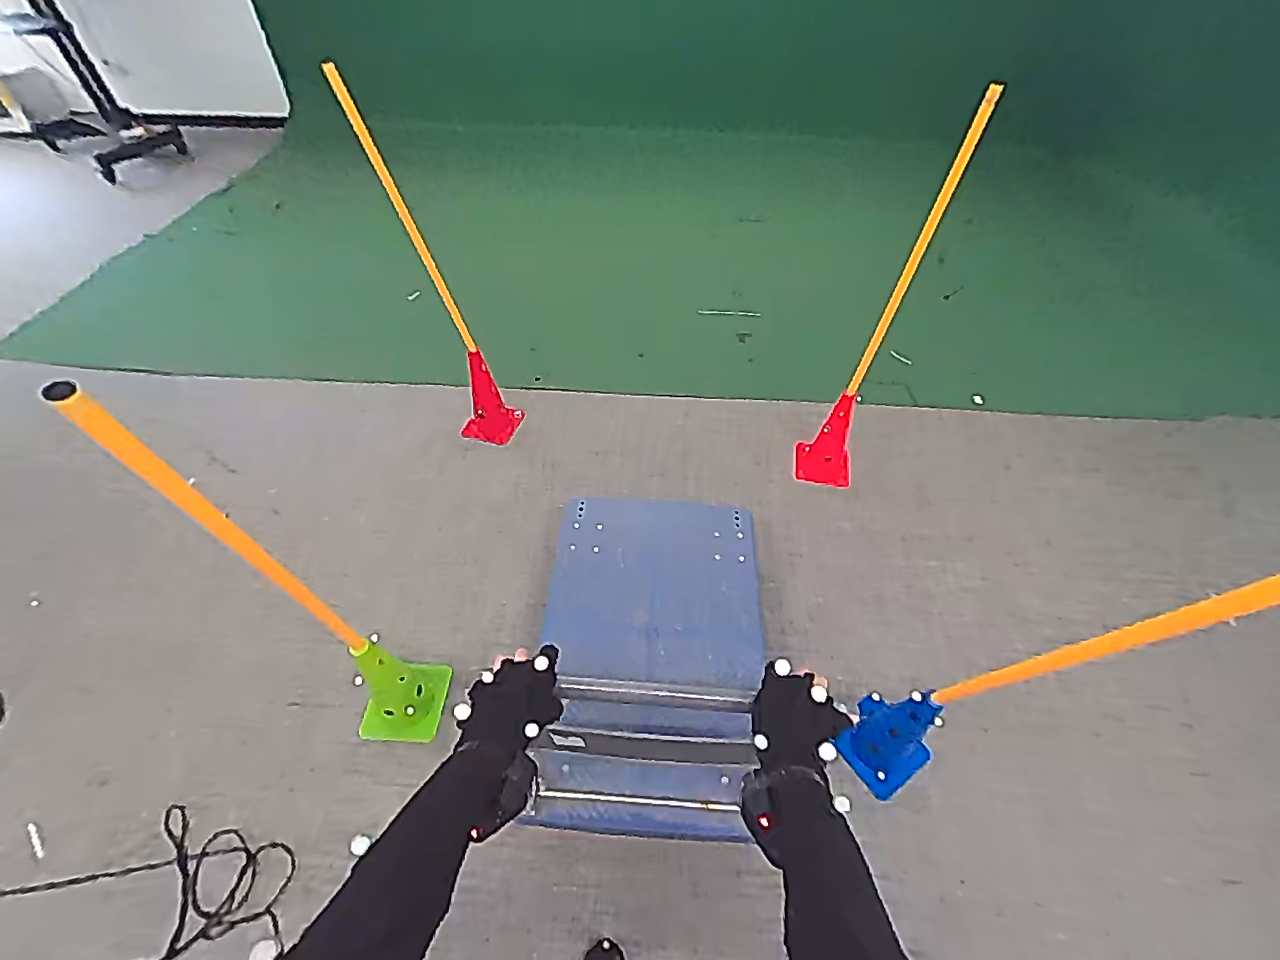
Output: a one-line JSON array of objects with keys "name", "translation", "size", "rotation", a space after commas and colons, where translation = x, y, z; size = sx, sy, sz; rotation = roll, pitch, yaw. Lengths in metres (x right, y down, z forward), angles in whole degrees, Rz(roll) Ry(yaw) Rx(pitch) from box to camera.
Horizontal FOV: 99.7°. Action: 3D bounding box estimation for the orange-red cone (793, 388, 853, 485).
[{"name": "orange-red cone", "translation": [0.683, -0.176, 1.910], "size": [0.198, 0.360, 0.199], "rotation": [11, 51, 9]}]
